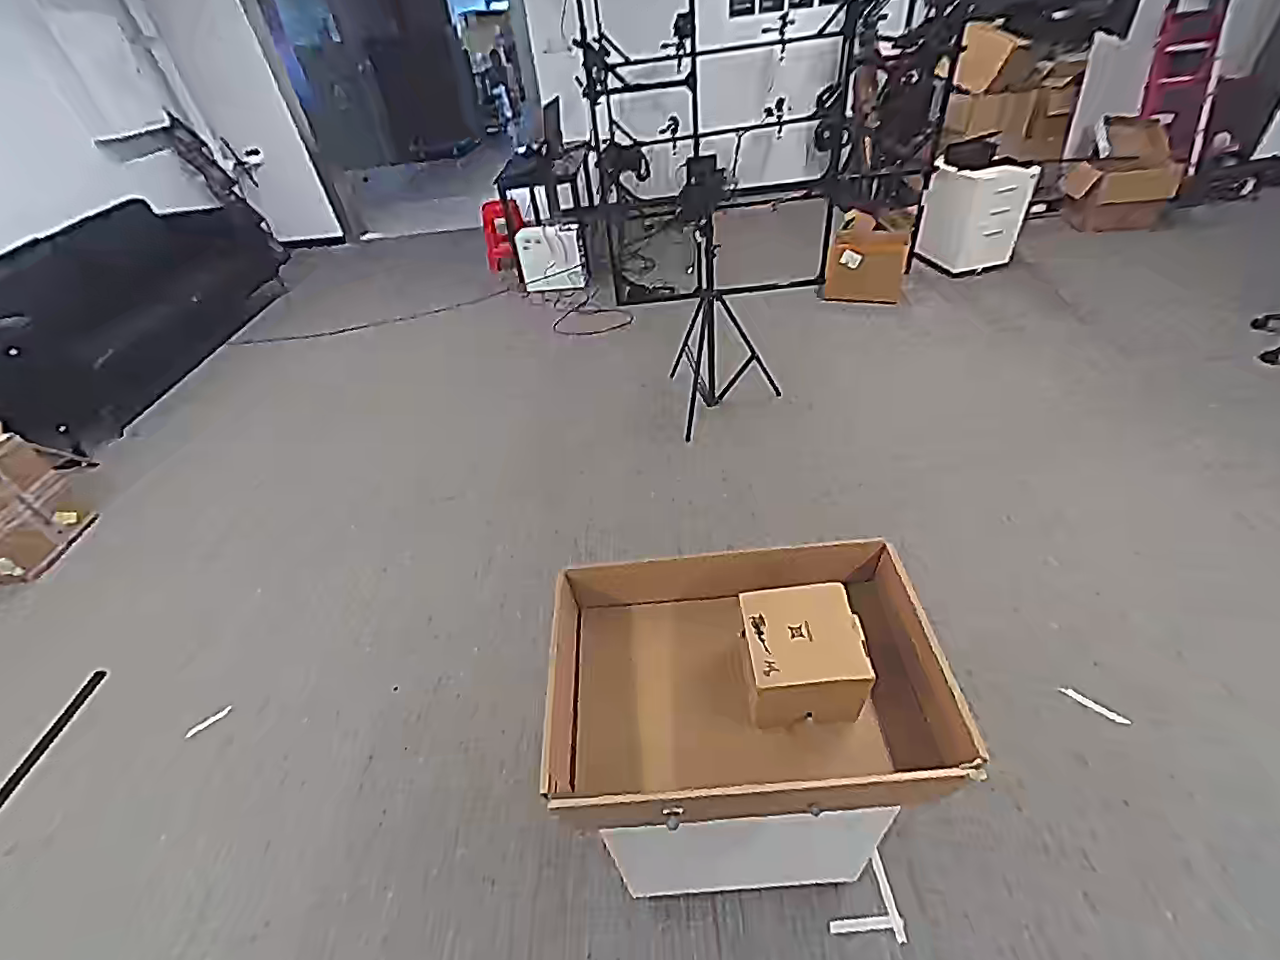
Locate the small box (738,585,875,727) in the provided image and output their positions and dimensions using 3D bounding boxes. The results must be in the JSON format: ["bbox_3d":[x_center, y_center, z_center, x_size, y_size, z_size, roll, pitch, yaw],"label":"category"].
[{"bbox_3d":[0.265,0.297,0.905,0.179,0.176,0.168,-6,46,3],"label":"small box"}]
